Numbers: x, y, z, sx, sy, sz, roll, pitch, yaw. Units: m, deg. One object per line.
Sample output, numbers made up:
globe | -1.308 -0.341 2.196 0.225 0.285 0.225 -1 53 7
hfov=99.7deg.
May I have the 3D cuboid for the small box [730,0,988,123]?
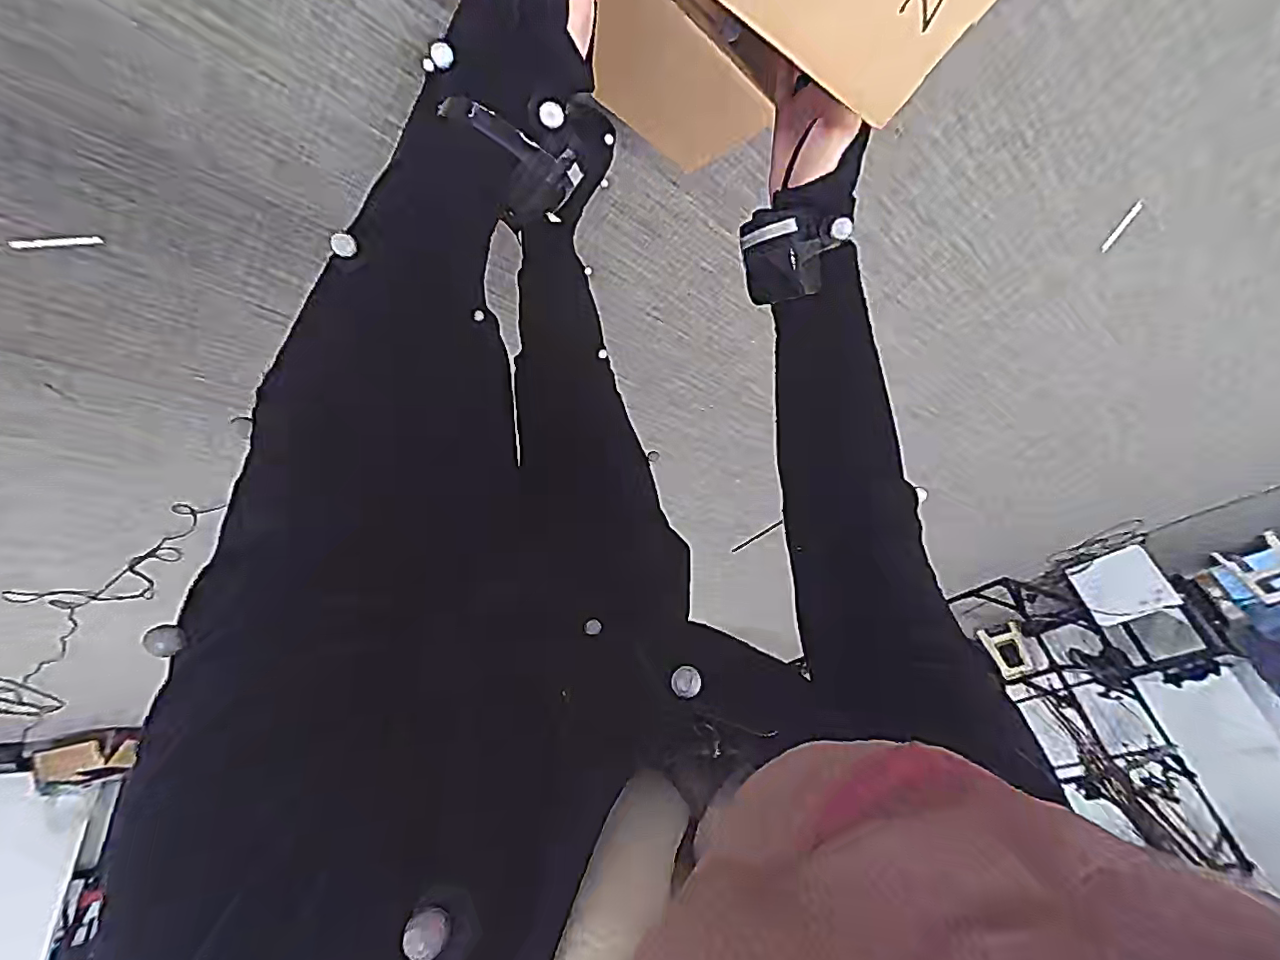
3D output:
small box | 0.097 -0.331 0.261 0.179 0.176 0.168 8 145 -34
